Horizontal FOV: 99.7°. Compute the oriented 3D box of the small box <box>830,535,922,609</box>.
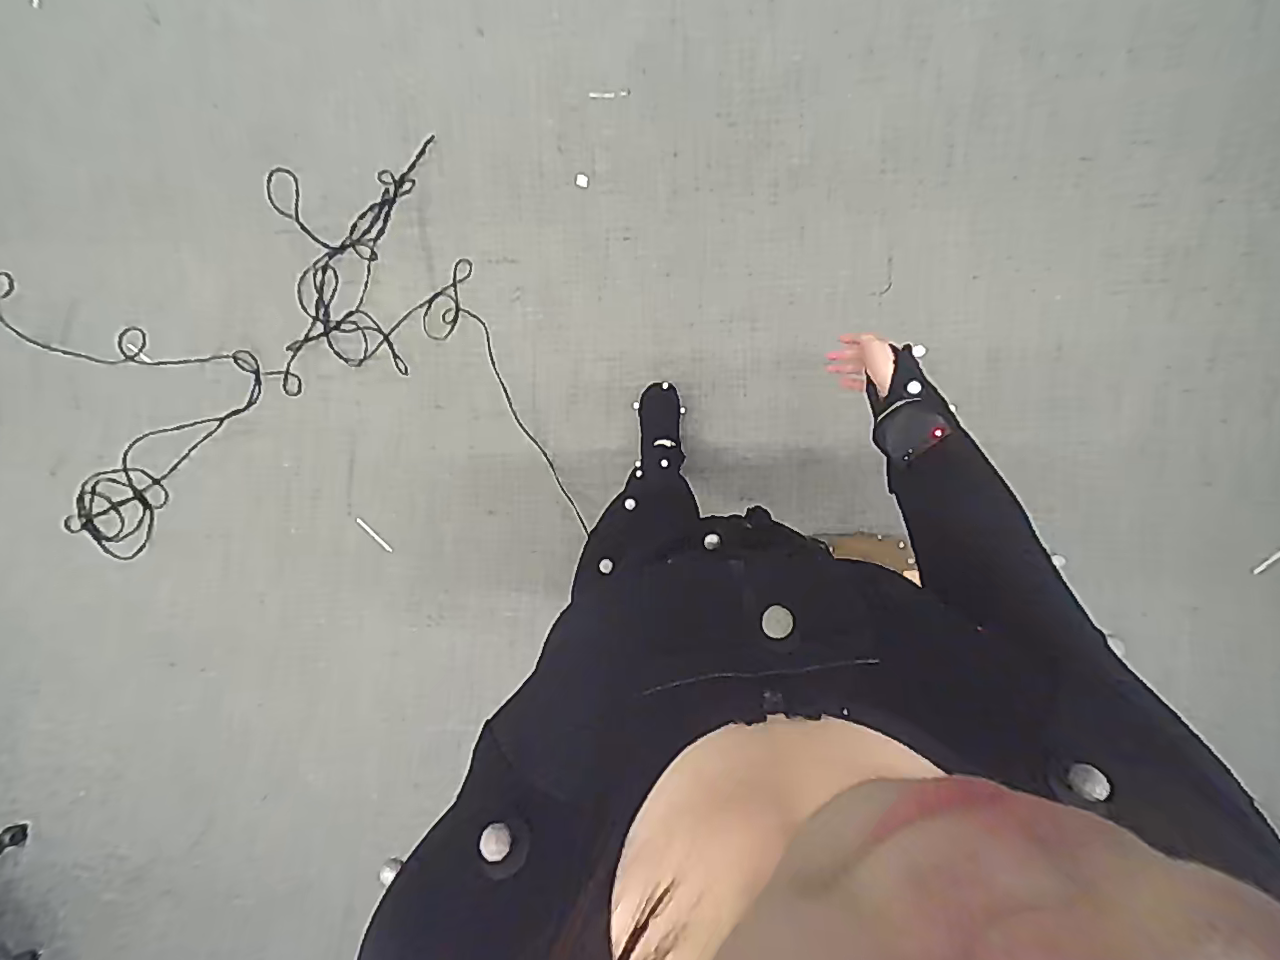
[{"bbox_3d":[0.598,0.234,1.387,0.179,0.176,0.168,0,92,2],"label":"small box"}]
